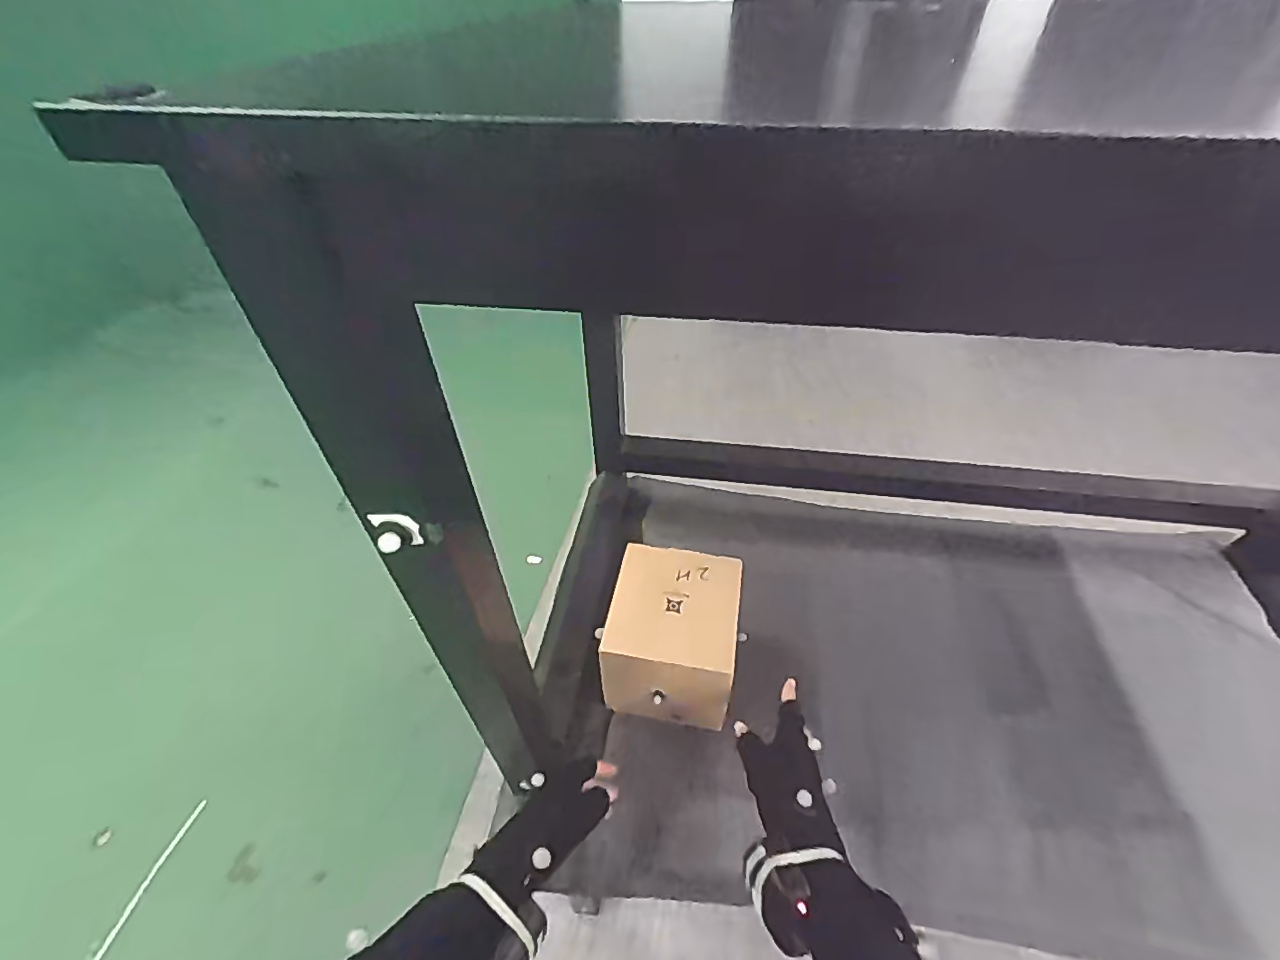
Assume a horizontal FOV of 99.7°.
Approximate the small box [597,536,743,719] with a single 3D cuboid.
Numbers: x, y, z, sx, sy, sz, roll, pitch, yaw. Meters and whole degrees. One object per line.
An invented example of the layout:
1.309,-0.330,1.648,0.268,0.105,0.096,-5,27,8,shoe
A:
0.046,0.206,0.752,0.168,0.176,0.179,8,44,8,small box
